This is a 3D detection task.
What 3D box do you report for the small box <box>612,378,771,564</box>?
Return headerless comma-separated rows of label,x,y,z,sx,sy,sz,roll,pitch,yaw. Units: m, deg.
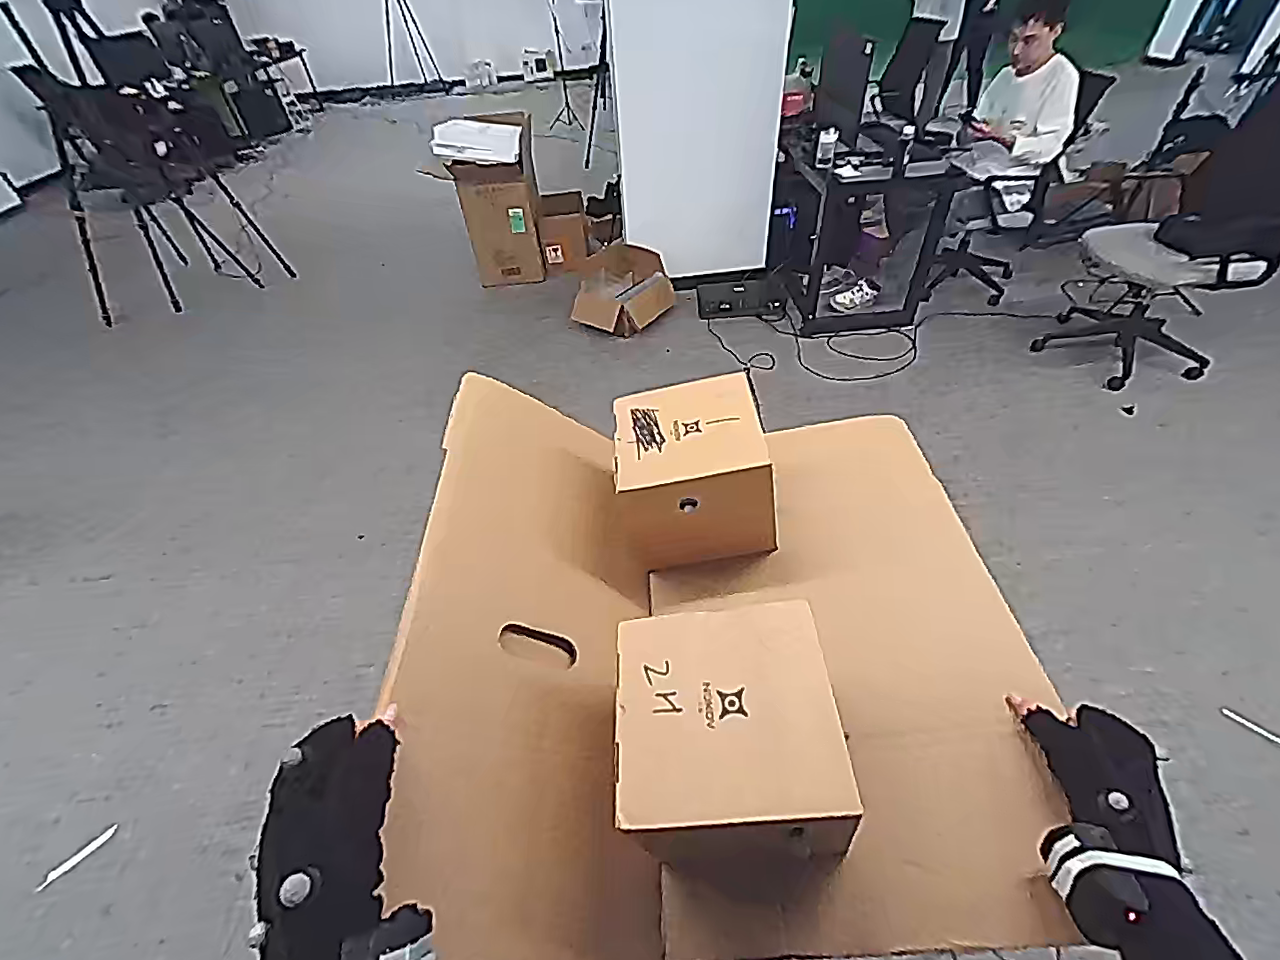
small box,0.069,-0.006,0.717,0.179,0.176,0.168,-11,48,7
